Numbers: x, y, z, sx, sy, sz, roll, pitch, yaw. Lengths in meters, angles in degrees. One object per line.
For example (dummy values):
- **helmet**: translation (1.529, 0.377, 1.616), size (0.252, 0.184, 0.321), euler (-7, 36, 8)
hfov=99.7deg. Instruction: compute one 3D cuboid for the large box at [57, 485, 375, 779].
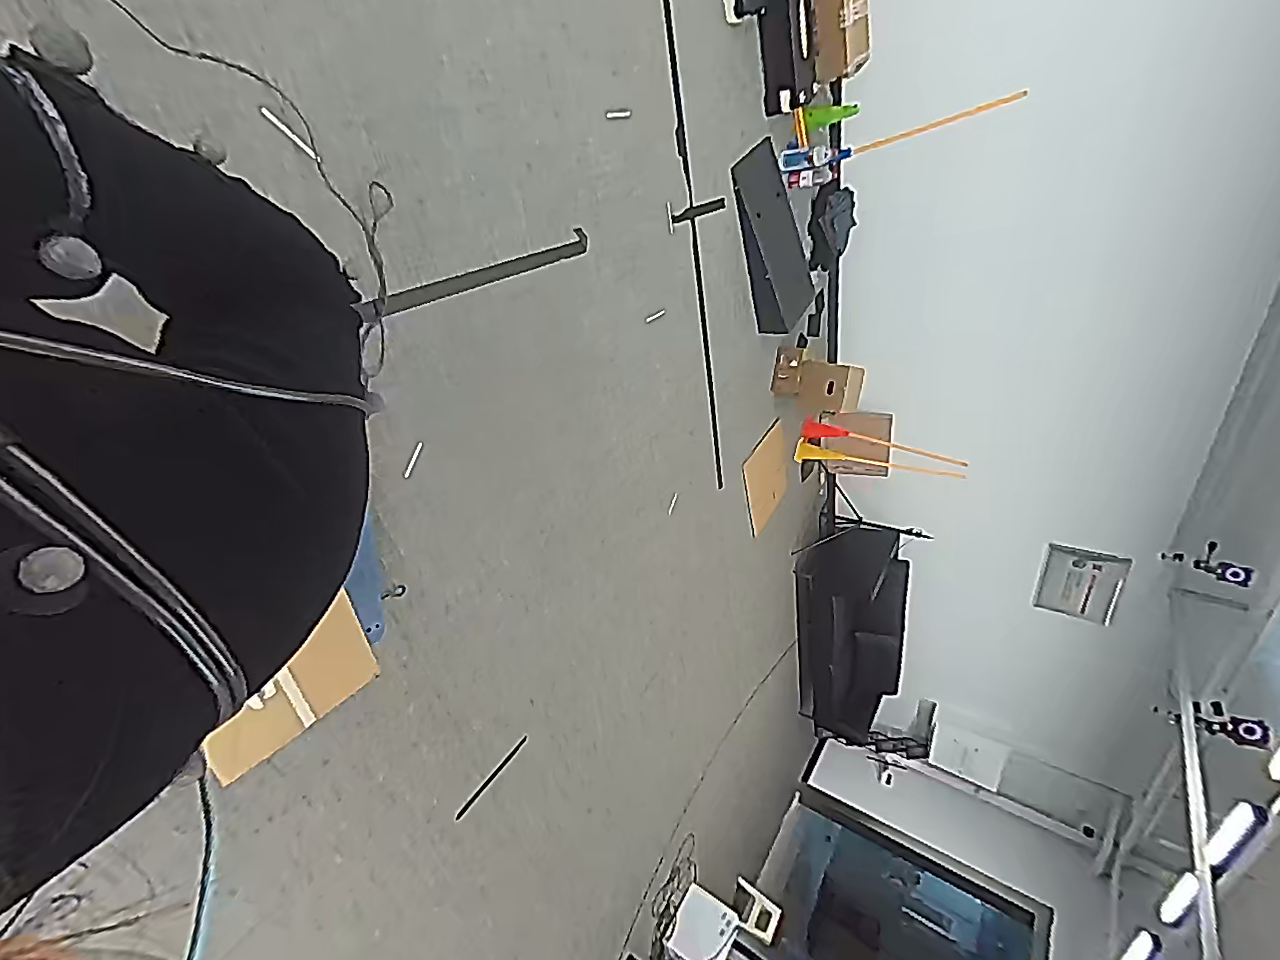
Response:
- **large box**: translation (-0.805, 0.273, 1.065), size (0.320, 0.320, 0.408), euler (-35, 129, -44)
